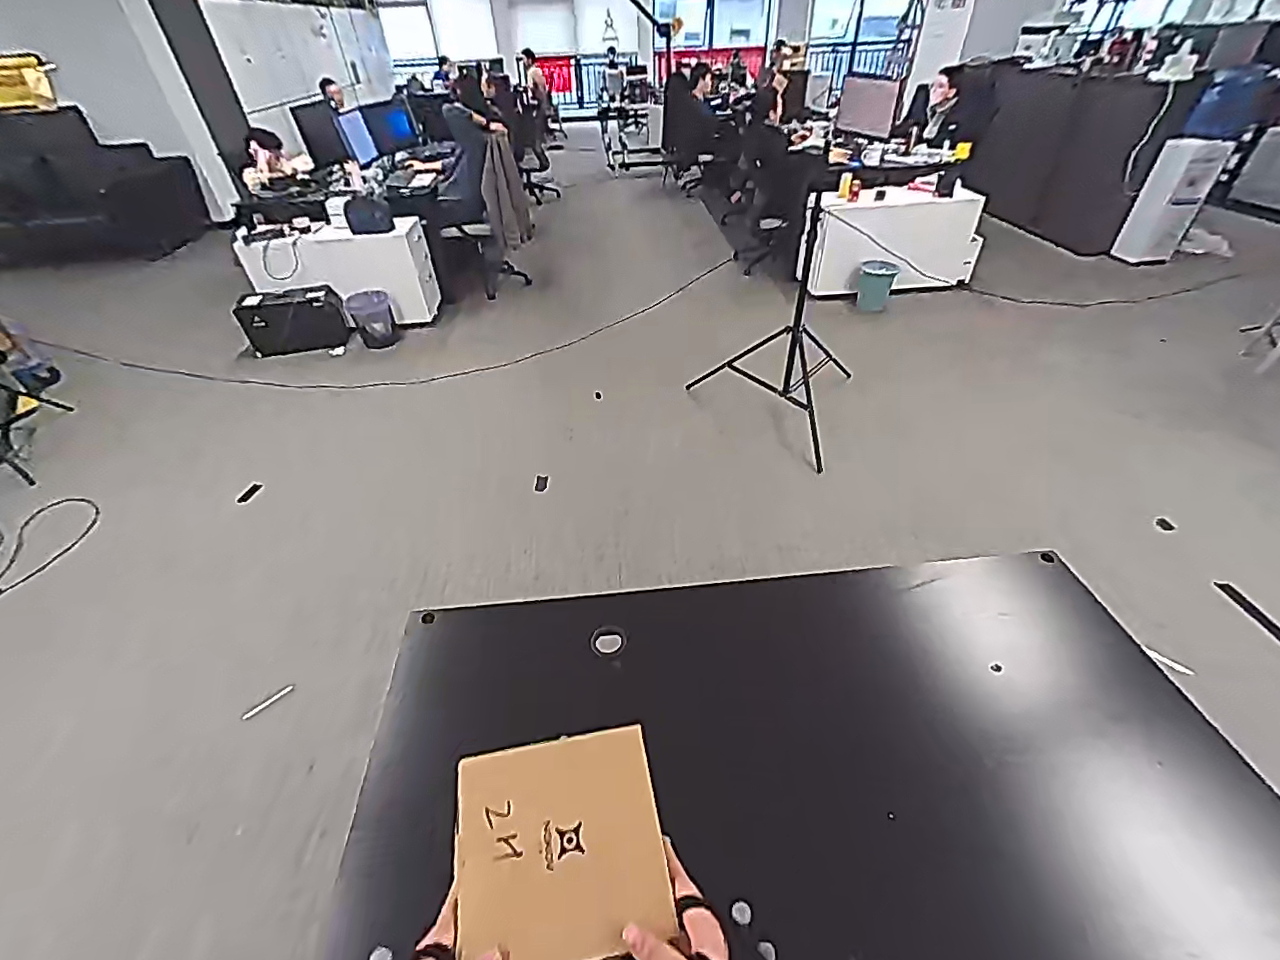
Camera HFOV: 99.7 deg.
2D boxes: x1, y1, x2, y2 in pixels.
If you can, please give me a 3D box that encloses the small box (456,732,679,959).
[{"bbox_3d":[-0.071,0.372,0.526,0.179,0.176,0.168,-8,47,-9],"label":"small box"}]
